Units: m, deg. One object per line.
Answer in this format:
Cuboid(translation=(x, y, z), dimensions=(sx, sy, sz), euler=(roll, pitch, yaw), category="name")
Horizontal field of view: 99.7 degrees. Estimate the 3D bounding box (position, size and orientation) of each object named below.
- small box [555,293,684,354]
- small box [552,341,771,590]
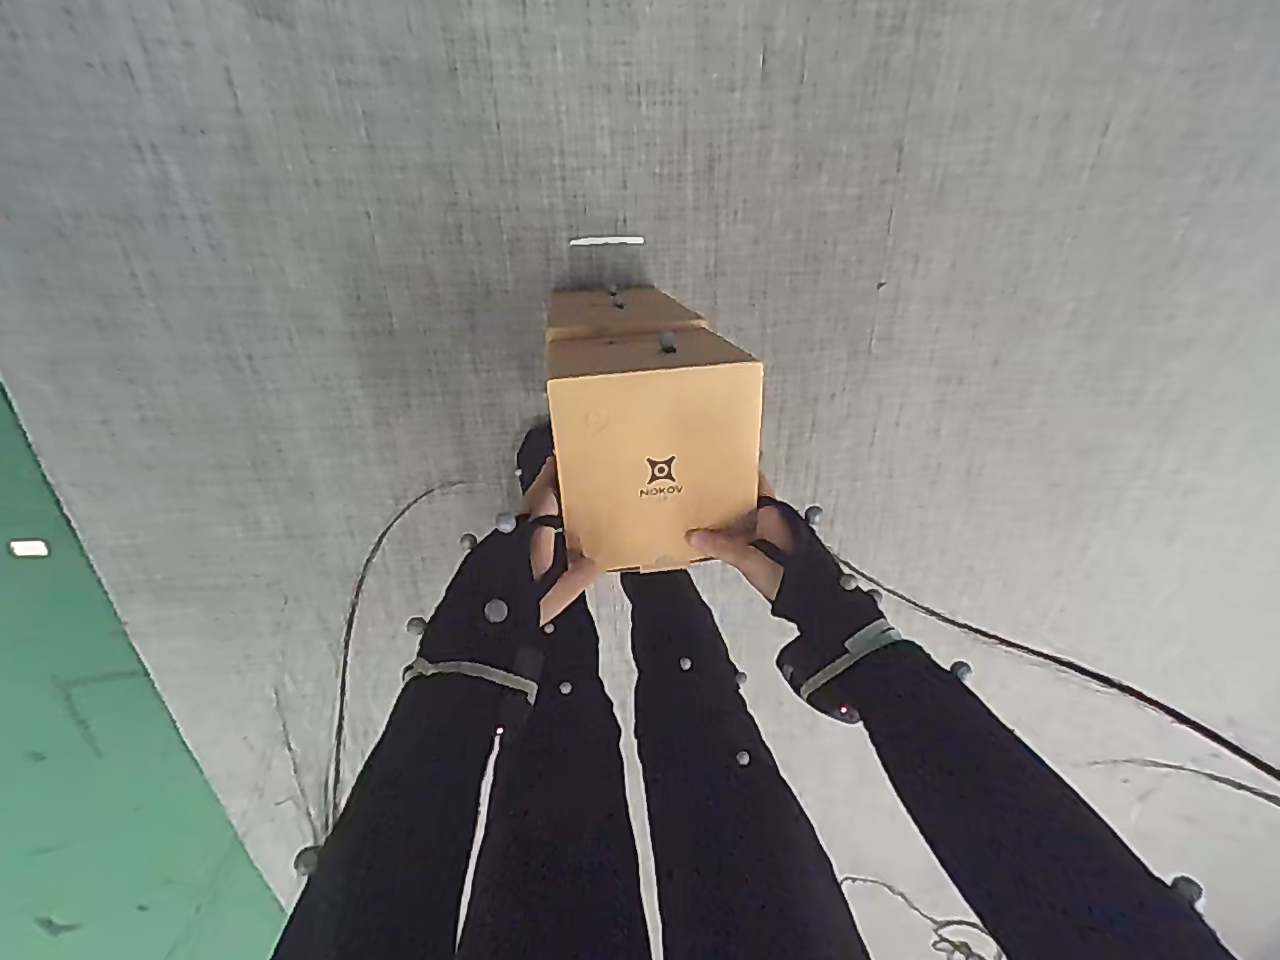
Cuboid(translation=(-0.036, -0.175, 0.788), dimensions=(0.168, 0.176, 0.179), euler=(-4, 117, -7), category="small box")
Cuboid(translation=(0.009, -0.027, 0.500), dimensions=(0.168, 0.176, 0.179), euler=(-6, 117, -6), category="small box")
